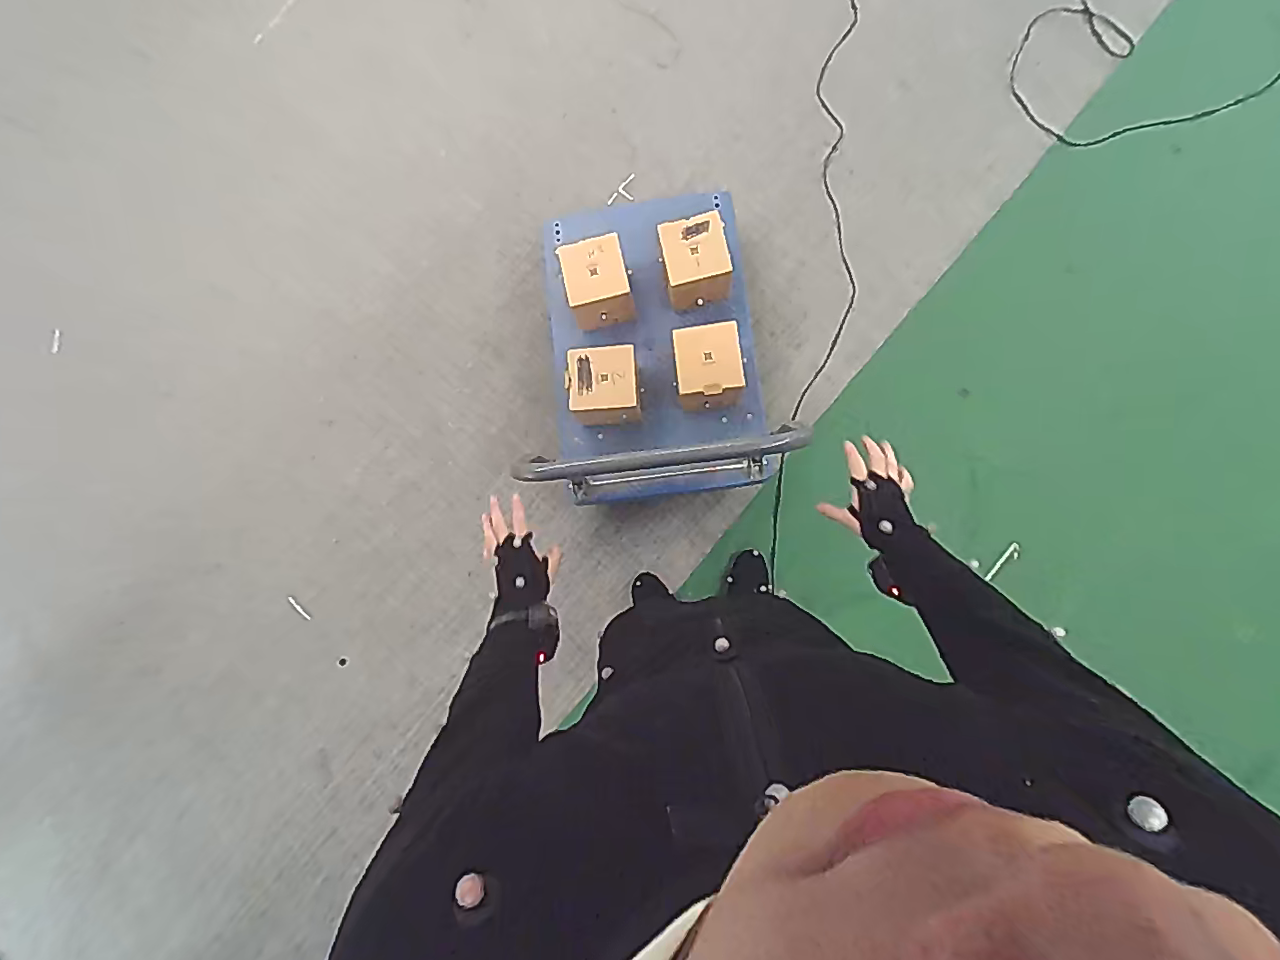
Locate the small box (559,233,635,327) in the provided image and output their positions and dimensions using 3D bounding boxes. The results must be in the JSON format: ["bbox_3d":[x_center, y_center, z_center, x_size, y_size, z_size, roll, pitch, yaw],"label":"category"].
[{"bbox_3d":[-0.113,-0.540,1.490,0.168,0.176,0.179,-12,82,3],"label":"small box"}]

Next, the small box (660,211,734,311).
[{"bbox_3d":[0.151,-0.588,1.470,0.168,0.176,0.179,-12,83,5],"label":"small box"}]

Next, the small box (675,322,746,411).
[{"bbox_3d":[0.182,-0.296,1.436,0.168,0.176,0.179,-7,83,4],"label":"small box"}]
